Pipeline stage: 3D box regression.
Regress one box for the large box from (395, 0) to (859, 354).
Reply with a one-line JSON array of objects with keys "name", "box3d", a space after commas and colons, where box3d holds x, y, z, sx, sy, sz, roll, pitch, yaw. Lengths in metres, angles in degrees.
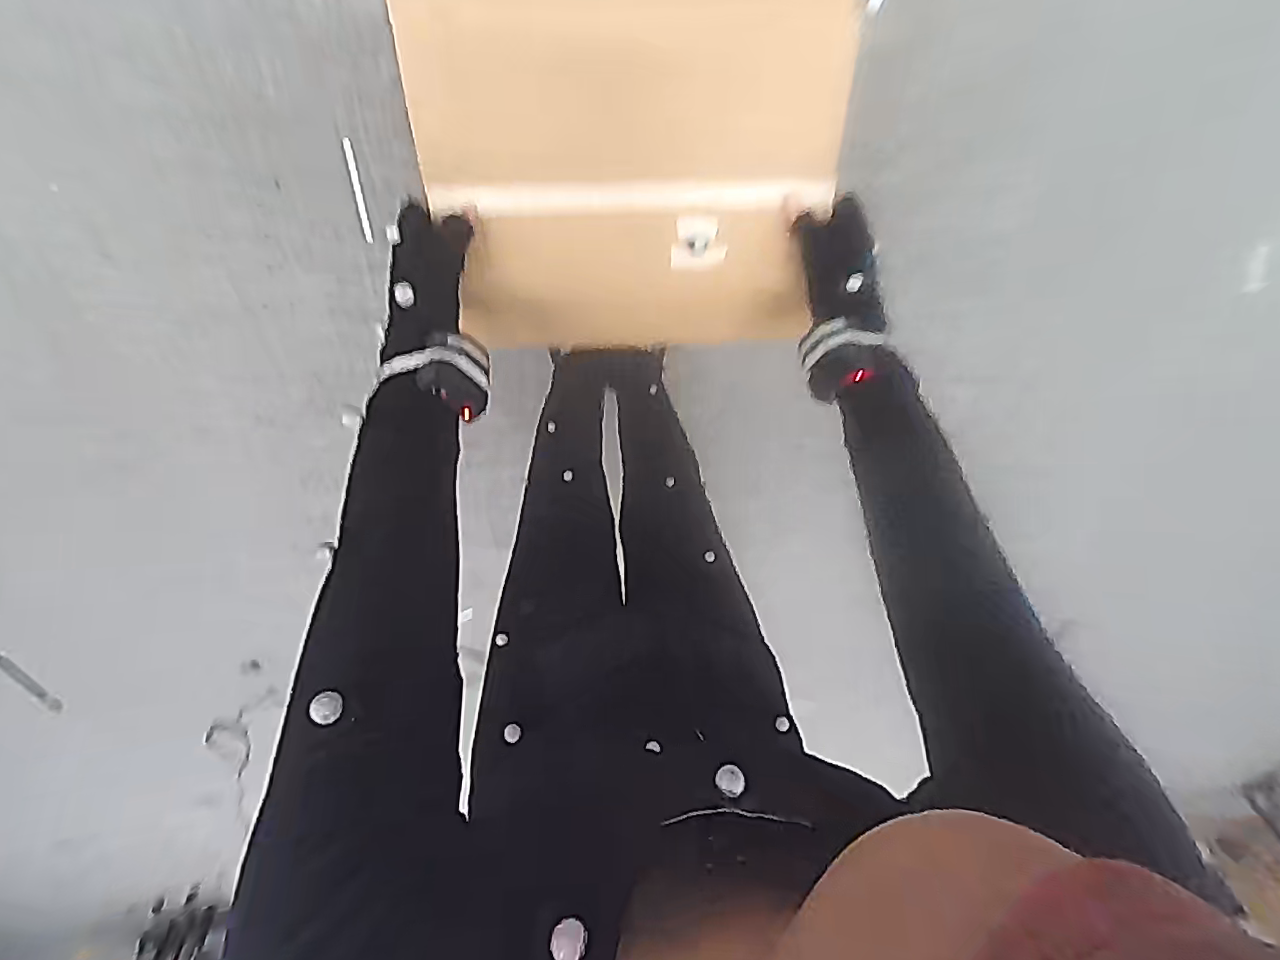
[{"name": "large box", "box3d": [-0.015, -0.365, 0.661, 0.408, 0.320, 0.320, -3, 125, -2]}]
